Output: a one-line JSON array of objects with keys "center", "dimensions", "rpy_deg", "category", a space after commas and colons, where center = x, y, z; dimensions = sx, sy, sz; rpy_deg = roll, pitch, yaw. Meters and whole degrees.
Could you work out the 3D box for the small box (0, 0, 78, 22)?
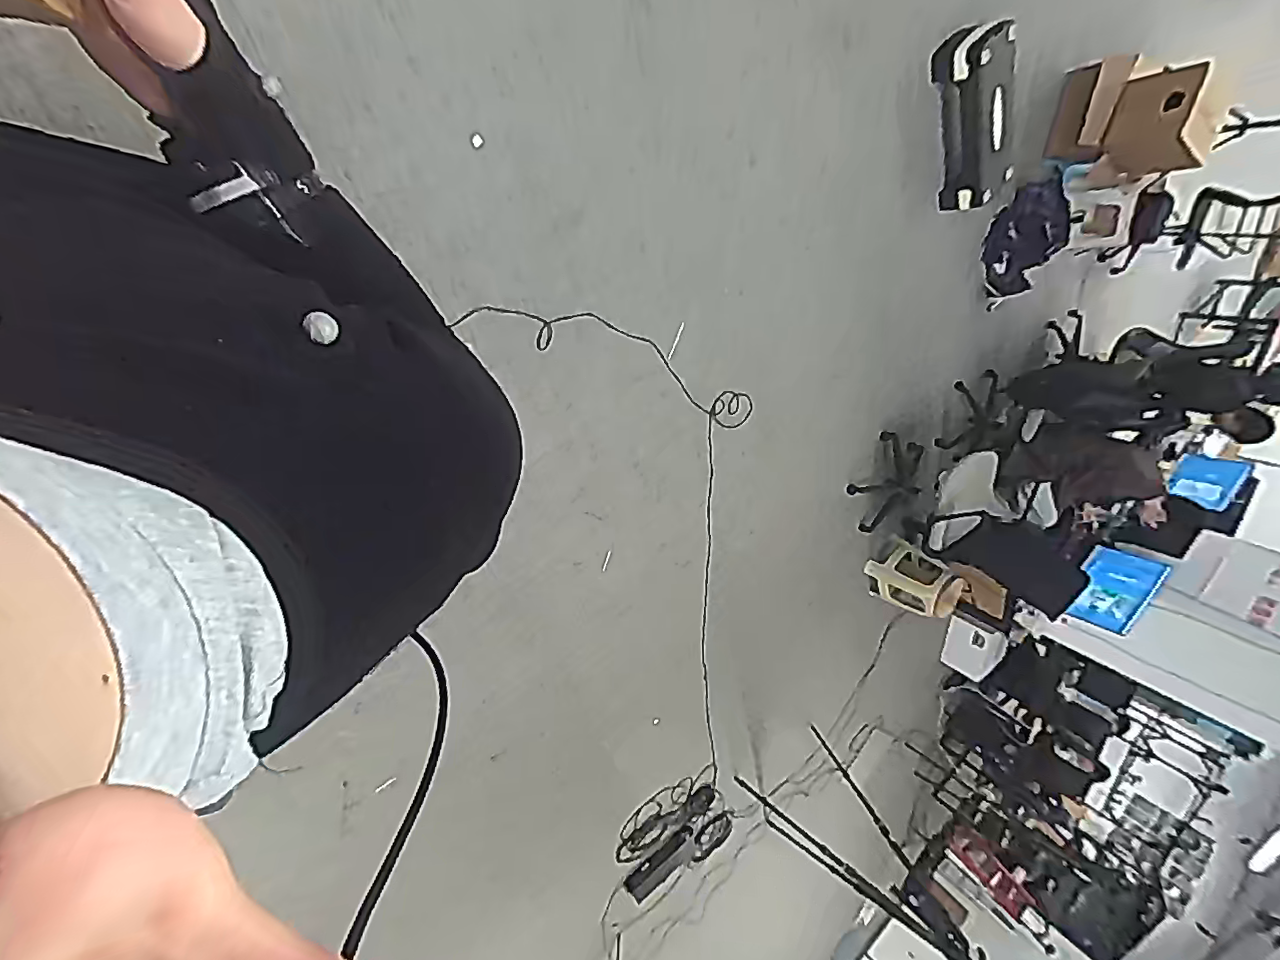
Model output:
[{"center": [-0.337, -0.276, 0.168], "dimensions": [0.168, 0.176, 0.179], "rpy_deg": [-12, 123, -26], "category": "small box"}]
